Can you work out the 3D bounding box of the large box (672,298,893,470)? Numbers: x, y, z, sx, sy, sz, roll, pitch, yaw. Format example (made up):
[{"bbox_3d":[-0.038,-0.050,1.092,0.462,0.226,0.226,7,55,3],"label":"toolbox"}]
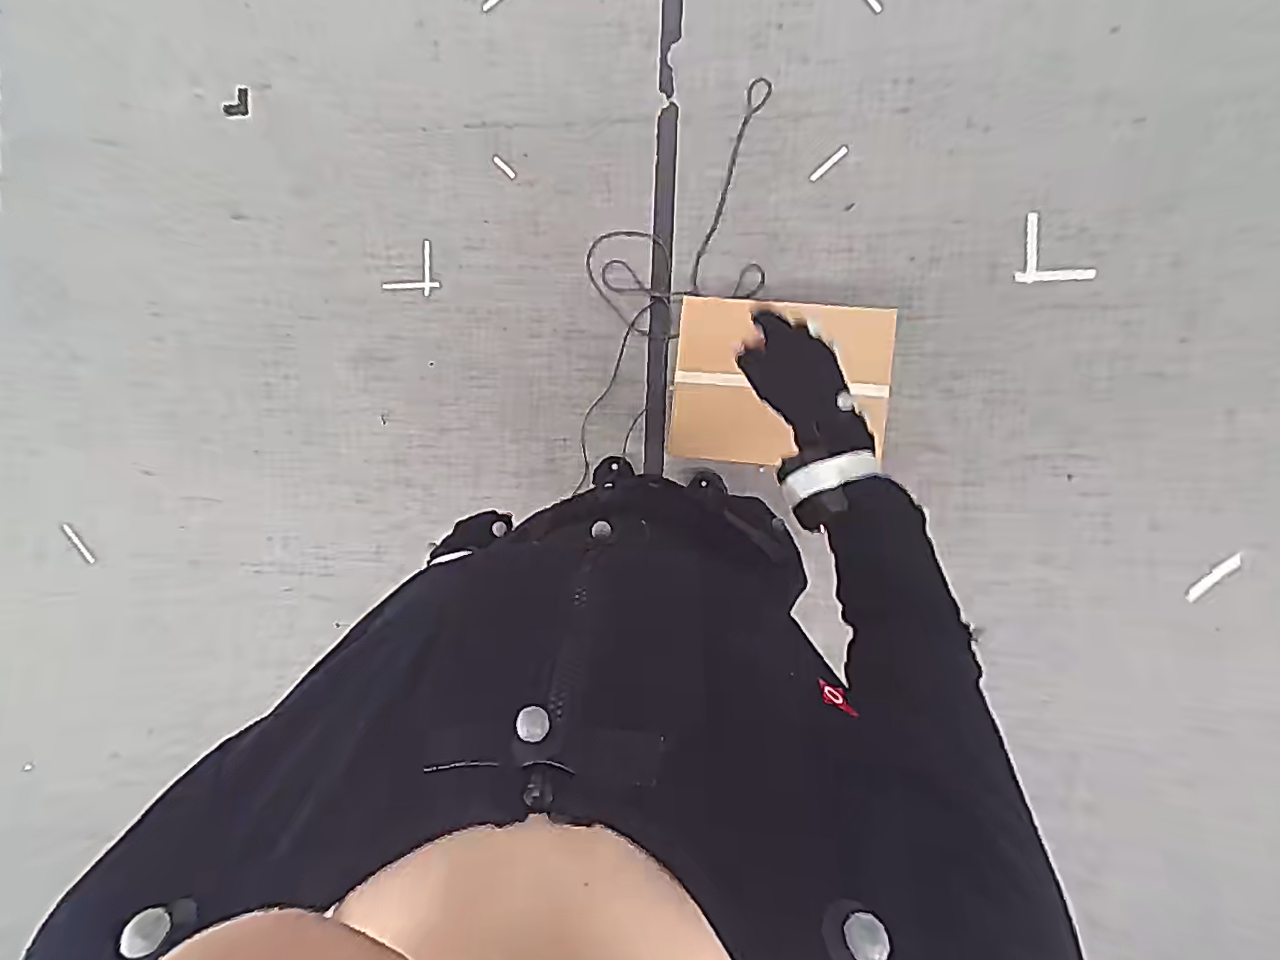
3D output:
[{"bbox_3d":[0.283,-0.193,1.193,0.408,0.320,0.320,6,94,5],"label":"large box"}]
